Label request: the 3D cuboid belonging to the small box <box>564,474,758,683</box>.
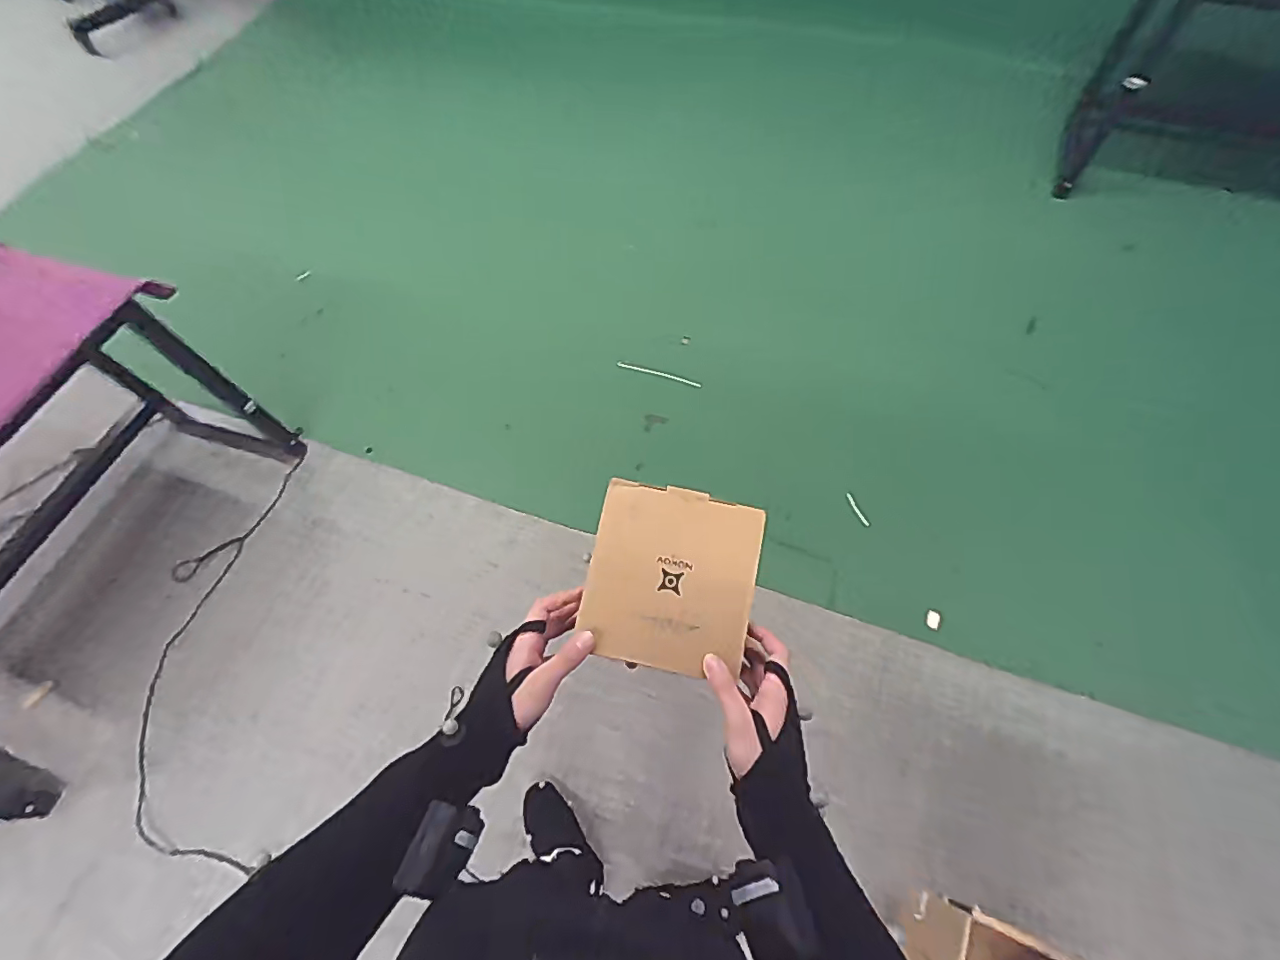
[{"bbox_3d":[0.021,0.112,0.608,0.168,0.176,0.179,12,76,2],"label":"small box"}]
